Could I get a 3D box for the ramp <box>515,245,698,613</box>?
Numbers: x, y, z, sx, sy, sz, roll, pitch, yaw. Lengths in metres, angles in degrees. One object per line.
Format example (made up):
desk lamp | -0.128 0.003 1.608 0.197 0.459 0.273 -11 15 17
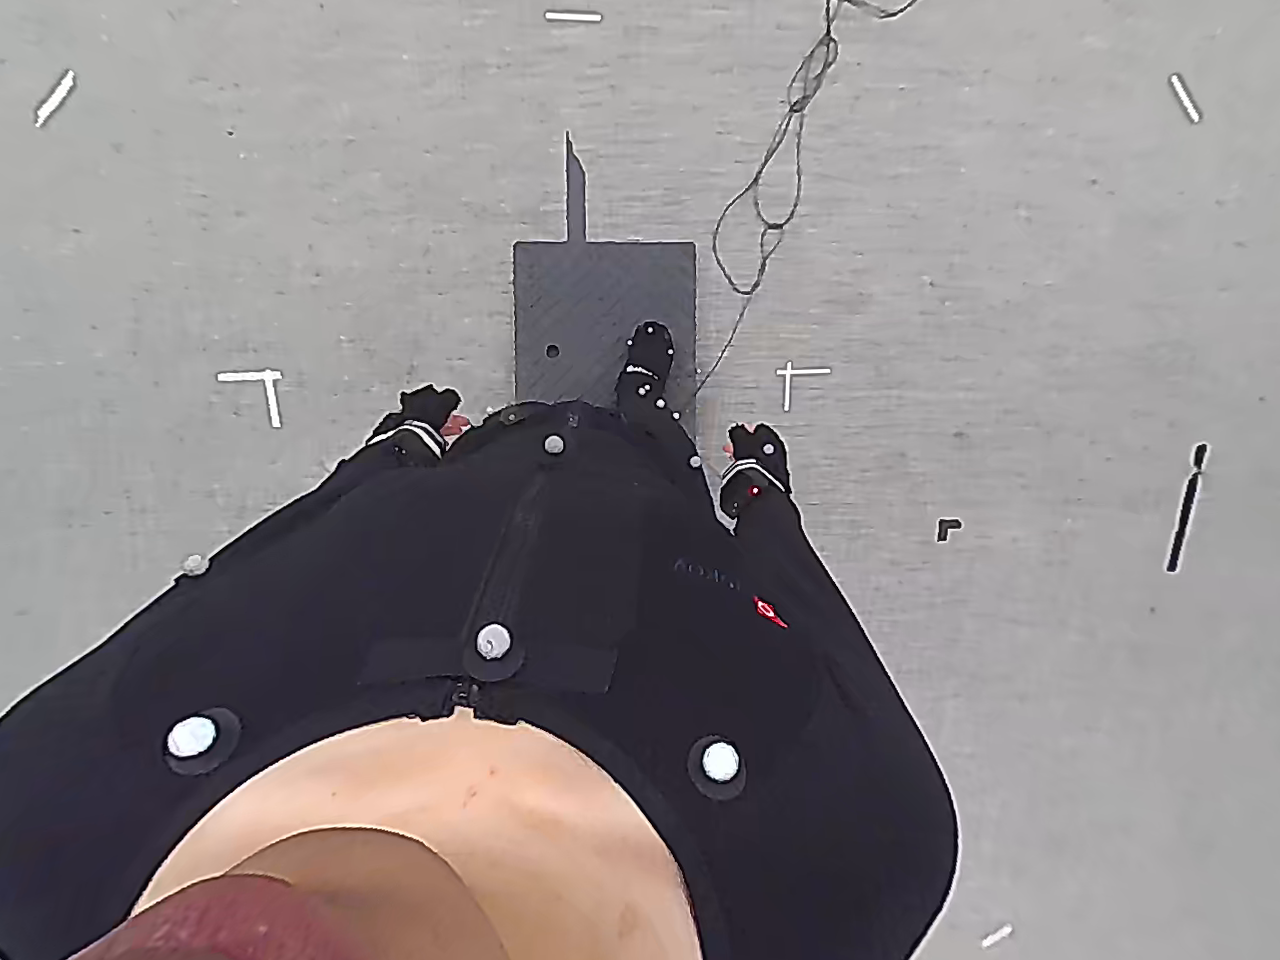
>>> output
ramp | -0.091 -0.135 1.472 0.509 0.206 0.991 -2 101 0
